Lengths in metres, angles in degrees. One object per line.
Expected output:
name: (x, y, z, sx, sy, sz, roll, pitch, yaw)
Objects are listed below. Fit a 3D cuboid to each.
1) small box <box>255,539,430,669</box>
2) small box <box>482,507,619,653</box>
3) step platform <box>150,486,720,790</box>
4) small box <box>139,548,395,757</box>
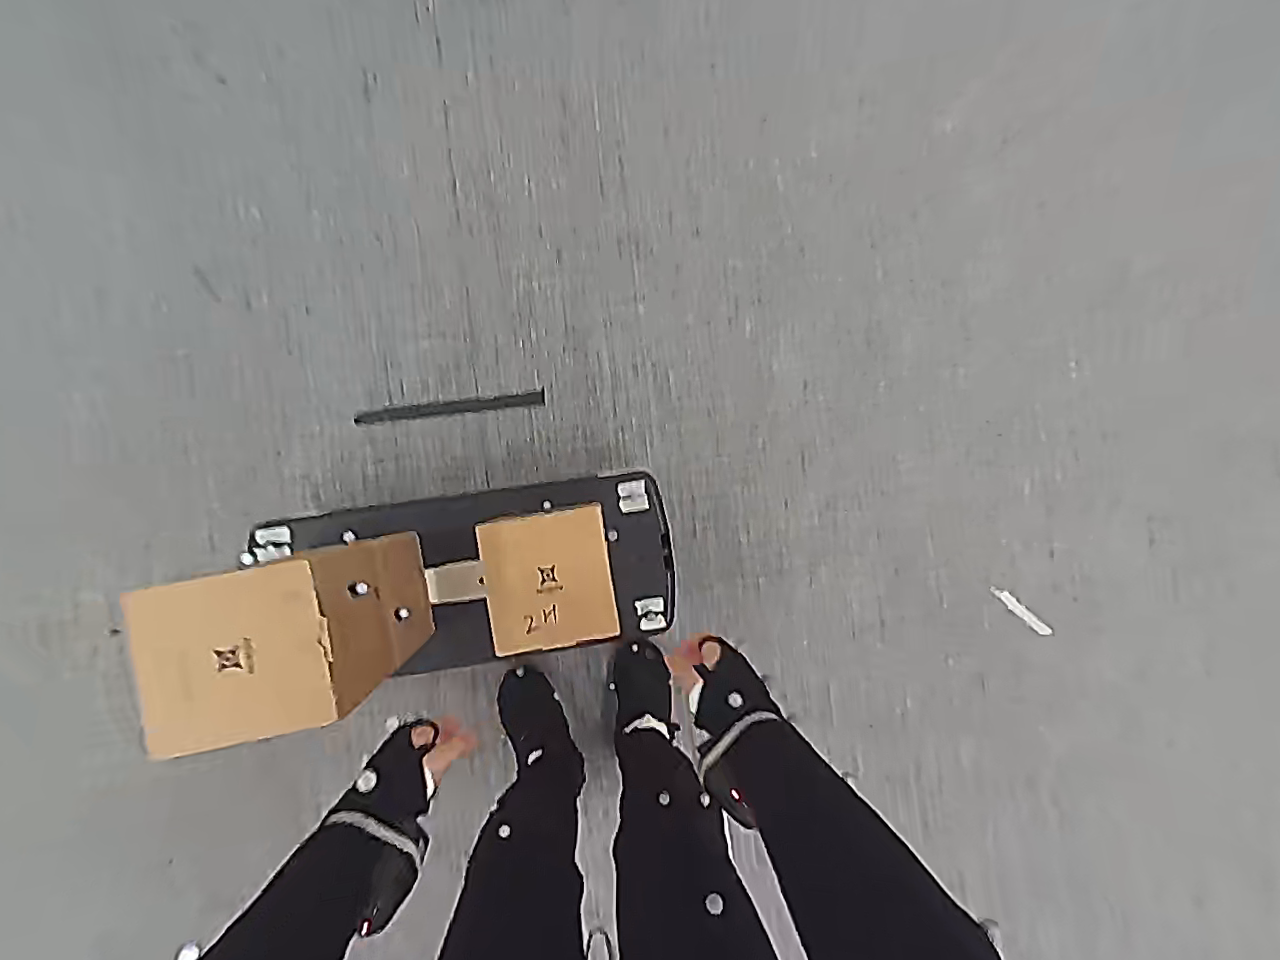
small box: (-0.413, 0.179, 0.776, 0.179, 0.176, 0.168, -10, 90, -5)
small box: (-0.126, 0.135, 0.803, 0.168, 0.176, 0.179, -9, 90, -4)
step platform: (-0.247, 0.191, 0.755, 0.684, 0.204, 0.286, -8, 89, -6)
small box: (-0.397, 0.177, 0.613, 0.179, 0.176, 0.168, -11, 89, -6)
